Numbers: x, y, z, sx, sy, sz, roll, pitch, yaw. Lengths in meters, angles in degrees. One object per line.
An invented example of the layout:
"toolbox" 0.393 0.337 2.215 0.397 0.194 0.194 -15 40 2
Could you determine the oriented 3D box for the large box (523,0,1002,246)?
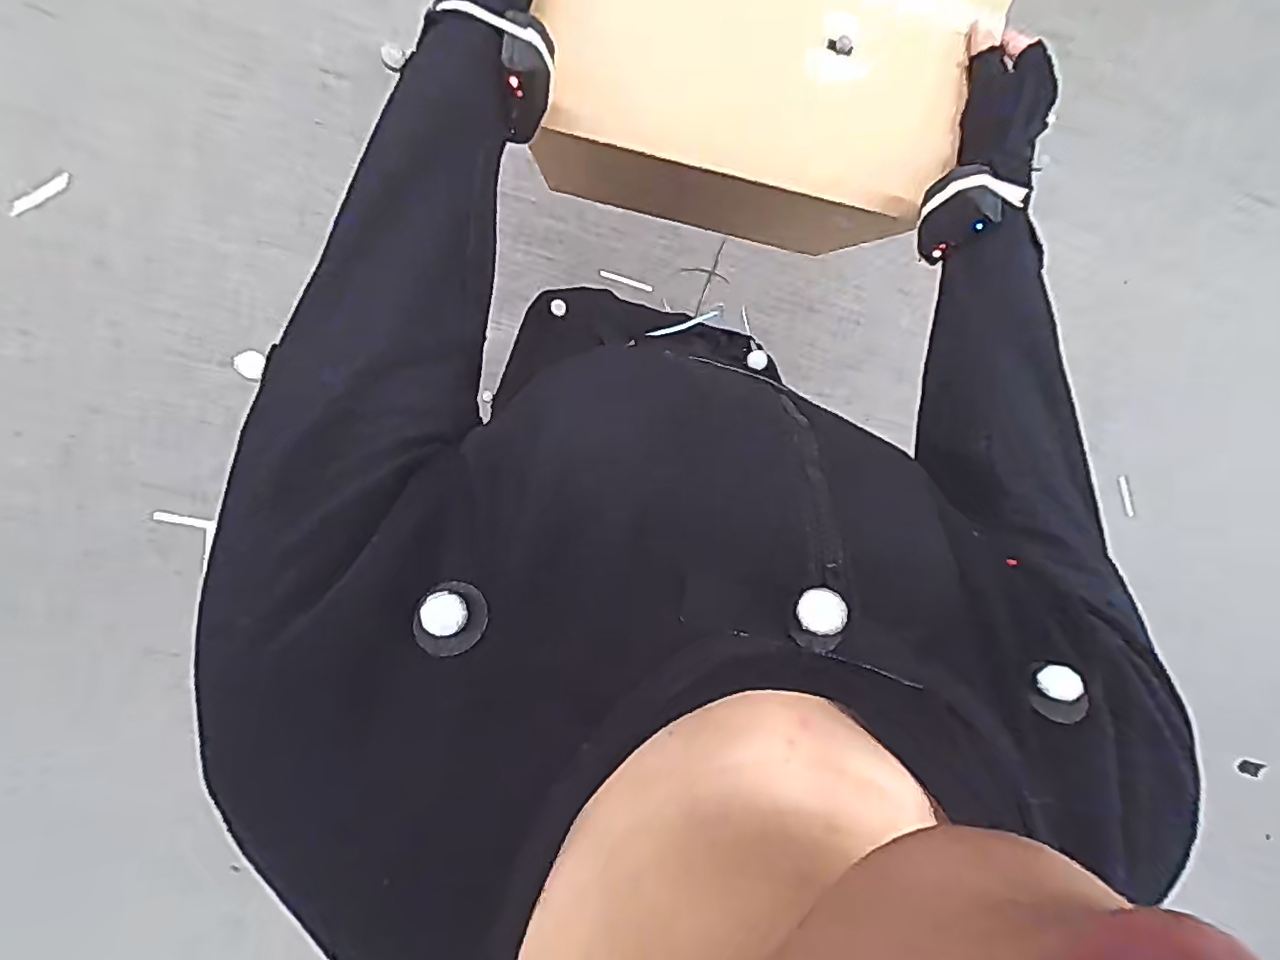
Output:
"large box" 0.107 -0.478 0.600 0.408 0.320 0.320 11 108 -7
